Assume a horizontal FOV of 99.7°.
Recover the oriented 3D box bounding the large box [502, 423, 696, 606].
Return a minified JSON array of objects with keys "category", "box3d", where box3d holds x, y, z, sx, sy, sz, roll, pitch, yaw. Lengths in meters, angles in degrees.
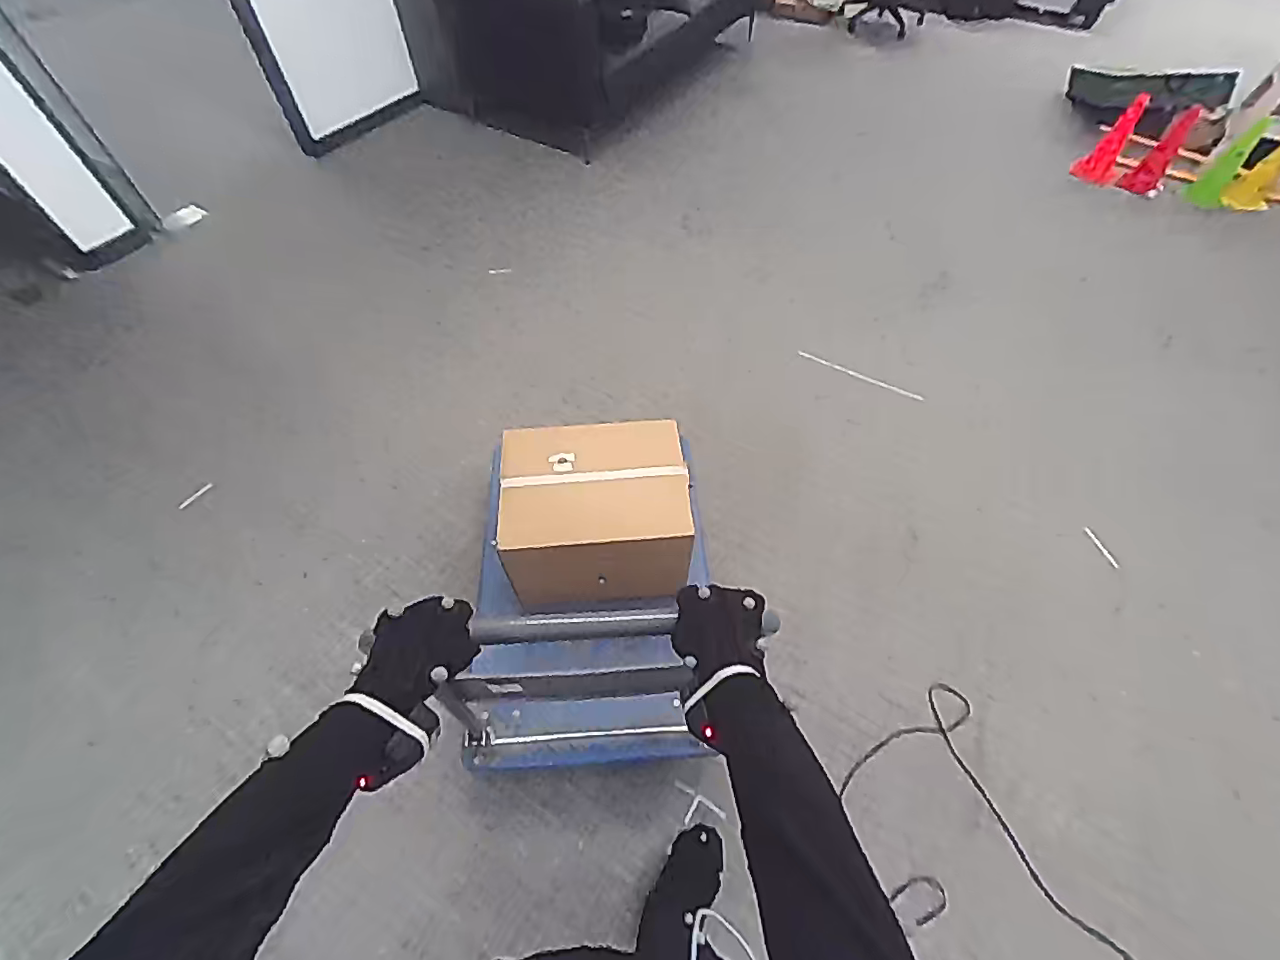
[{"category":"large box","box3d":[-0.095,0.091,1.304,0.408,0.320,0.320,-5,55,-3]}]
